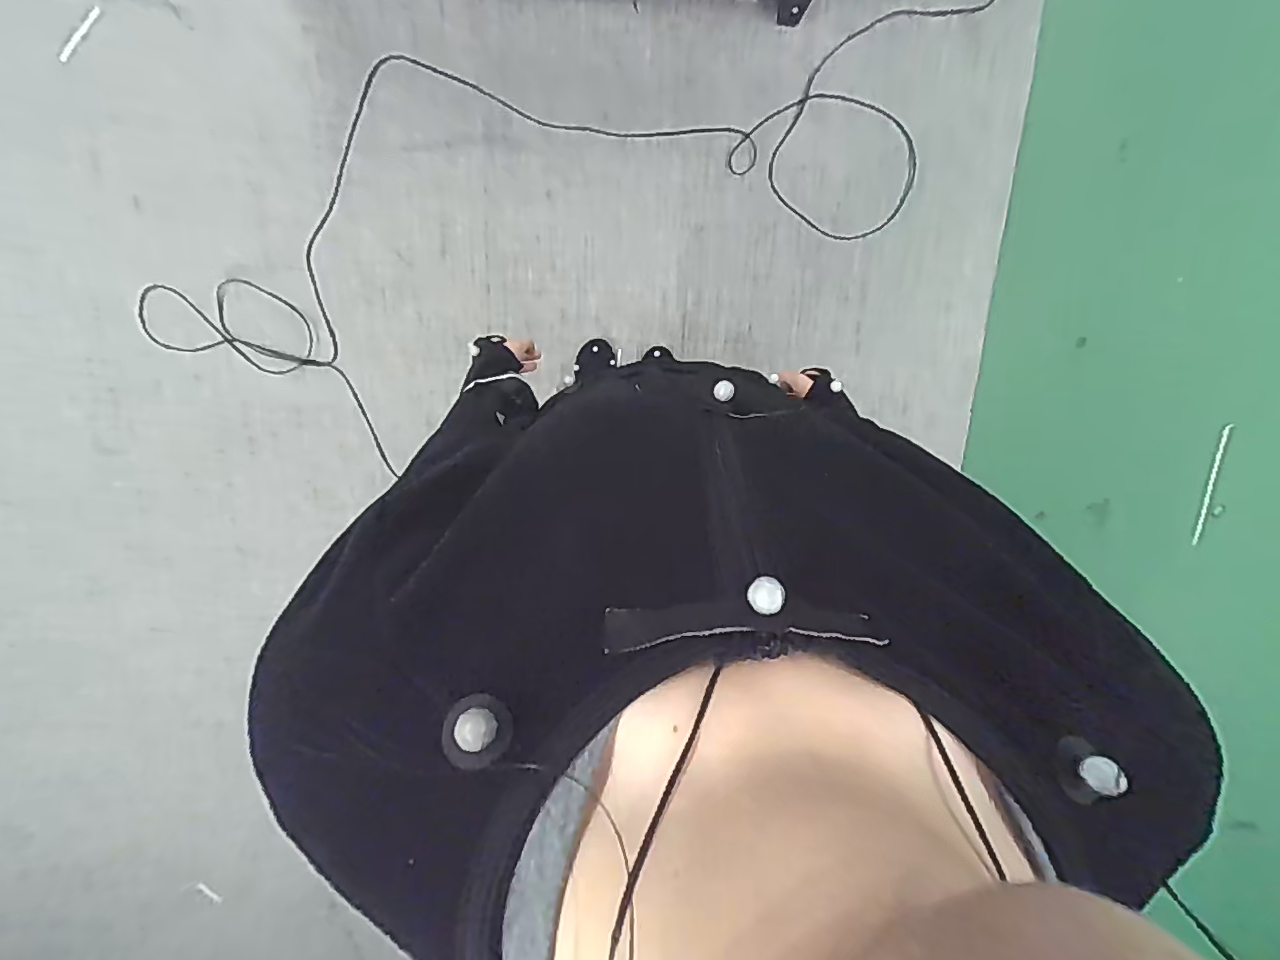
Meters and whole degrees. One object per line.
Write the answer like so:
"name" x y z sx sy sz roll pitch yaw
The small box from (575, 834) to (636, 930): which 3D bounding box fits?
"small box" -0.107 1.211 1.640 0.179 0.176 0.168 1 101 -5
